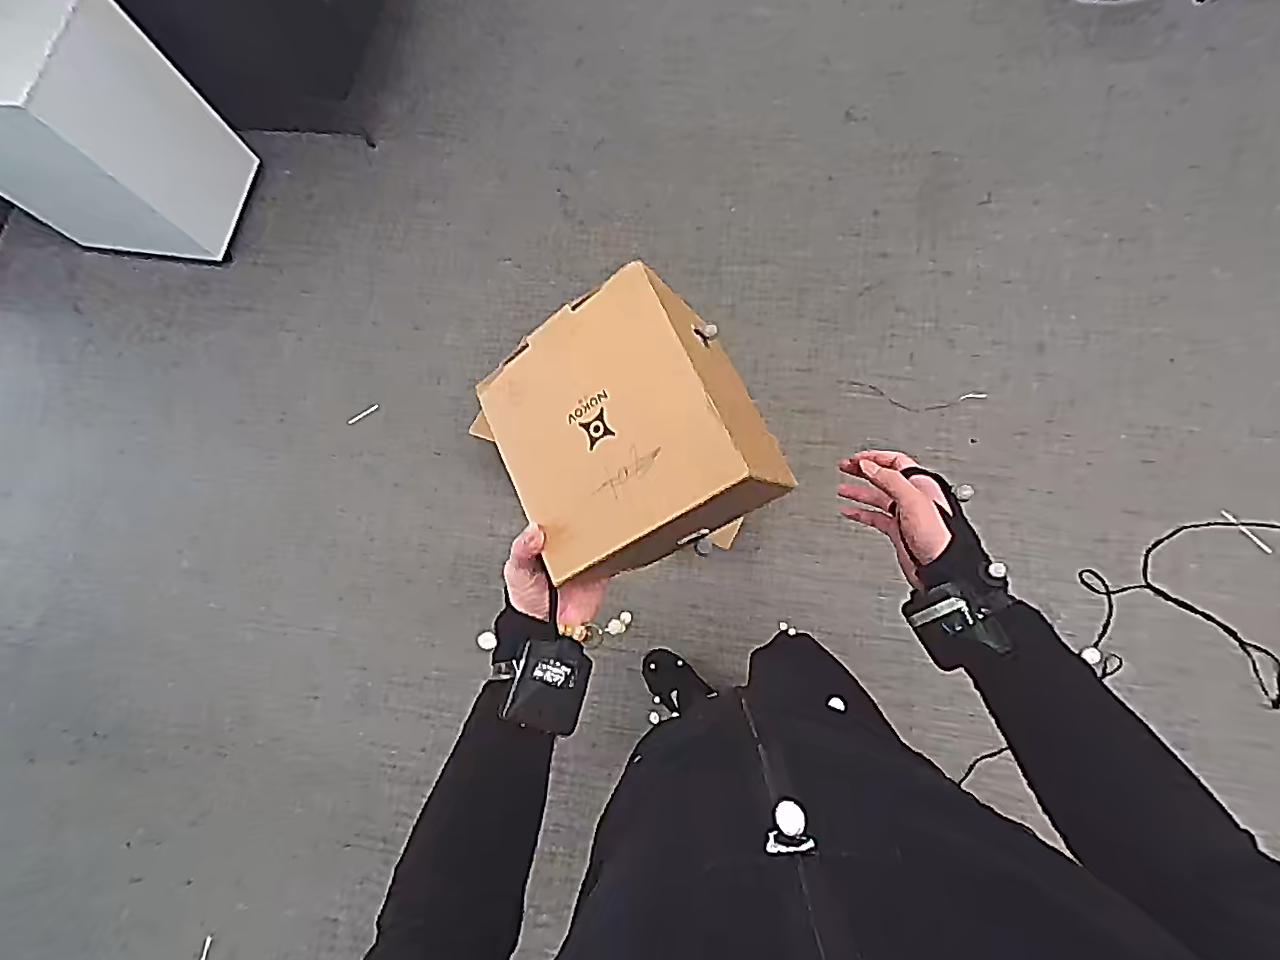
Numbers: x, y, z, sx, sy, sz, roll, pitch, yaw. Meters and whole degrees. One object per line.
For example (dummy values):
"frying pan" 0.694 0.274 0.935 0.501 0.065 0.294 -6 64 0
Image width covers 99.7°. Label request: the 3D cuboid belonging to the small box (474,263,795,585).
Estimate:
"small box" 0.003 -0.030 0.442 0.168 0.176 0.179 -30 73 23
